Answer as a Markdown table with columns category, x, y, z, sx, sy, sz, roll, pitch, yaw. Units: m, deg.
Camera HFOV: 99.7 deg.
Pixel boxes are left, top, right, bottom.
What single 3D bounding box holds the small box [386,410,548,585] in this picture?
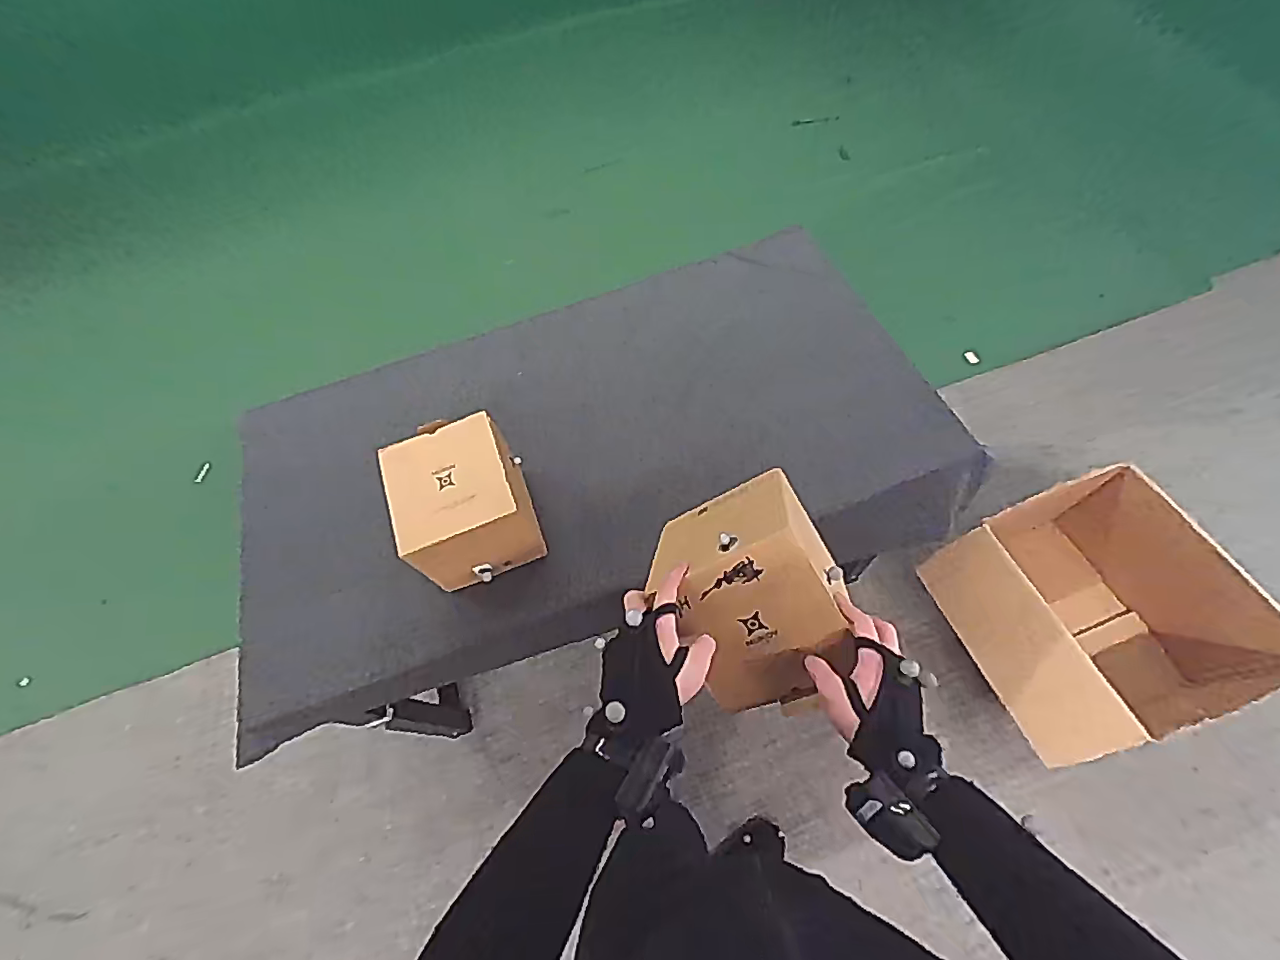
| category | x | y | z | sx | sy | sz | roll | pitch | yaw |
| --- | --- | --- | --- | --- | --- | --- | --- | --- | --- |
| small box | -0.253 | 0.032 | 0.814 | 0.168 | 0.176 | 0.179 | -22 | 62 | -5 |

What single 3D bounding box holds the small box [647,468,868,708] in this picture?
| category | x | y | z | sx | sy | sz | roll | pitch | yaw |
| --- | --- | --- | --- | --- | --- | --- | --- | --- | --- |
| small box | 0.132 | 0.115 | 0.616 | 0.168 | 0.179 | 0.176 | -29 | 13 | 19 |
